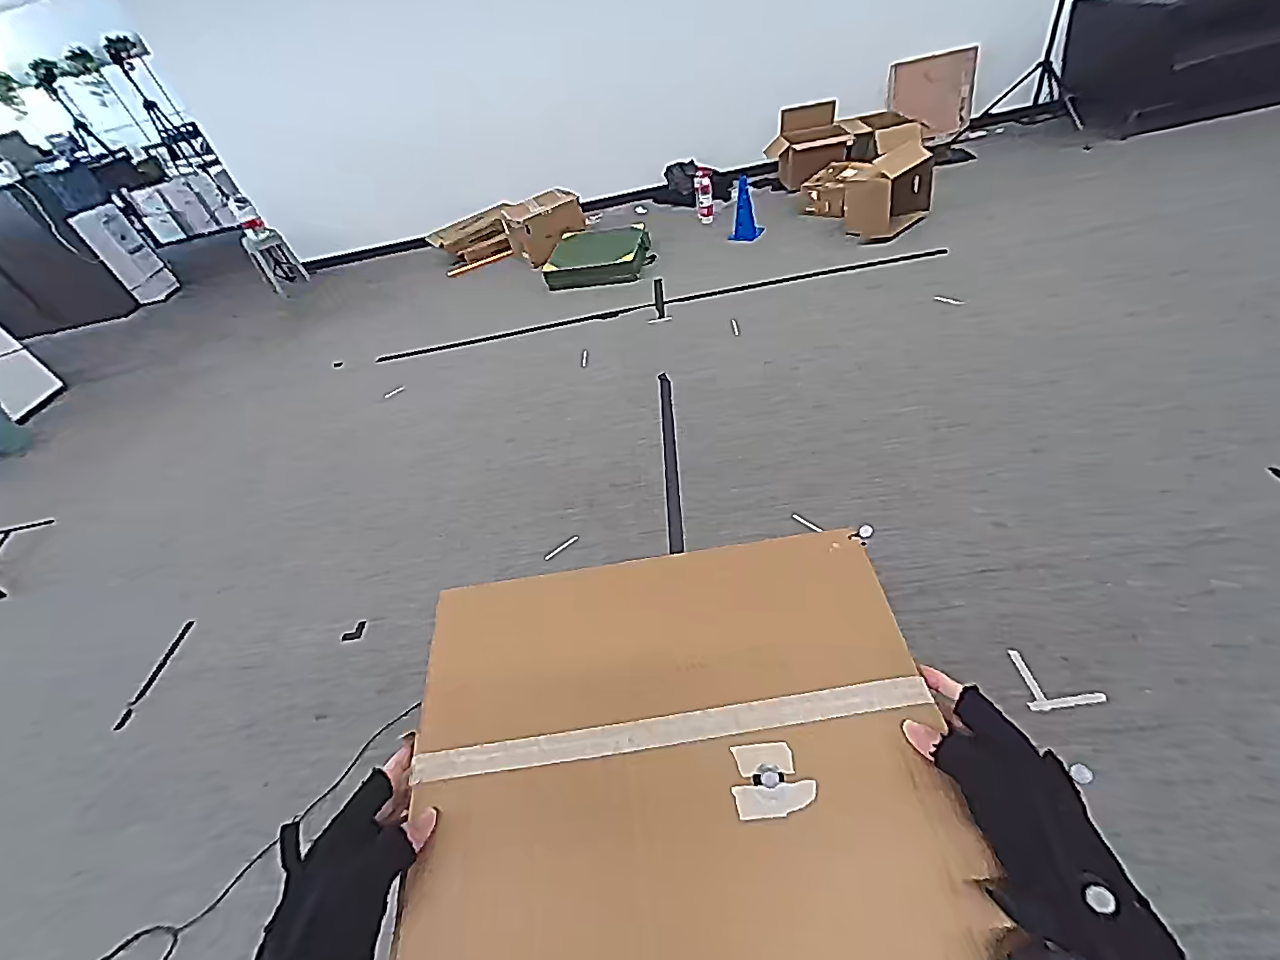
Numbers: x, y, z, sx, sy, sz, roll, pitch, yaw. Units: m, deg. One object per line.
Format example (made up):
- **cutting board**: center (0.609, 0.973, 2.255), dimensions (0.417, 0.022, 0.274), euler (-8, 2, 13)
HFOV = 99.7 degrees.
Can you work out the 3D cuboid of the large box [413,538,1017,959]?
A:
- **large box**: center (0.043, 0.299, 0.550), dimensions (0.408, 0.320, 0.320), euler (-9, 51, 1)
